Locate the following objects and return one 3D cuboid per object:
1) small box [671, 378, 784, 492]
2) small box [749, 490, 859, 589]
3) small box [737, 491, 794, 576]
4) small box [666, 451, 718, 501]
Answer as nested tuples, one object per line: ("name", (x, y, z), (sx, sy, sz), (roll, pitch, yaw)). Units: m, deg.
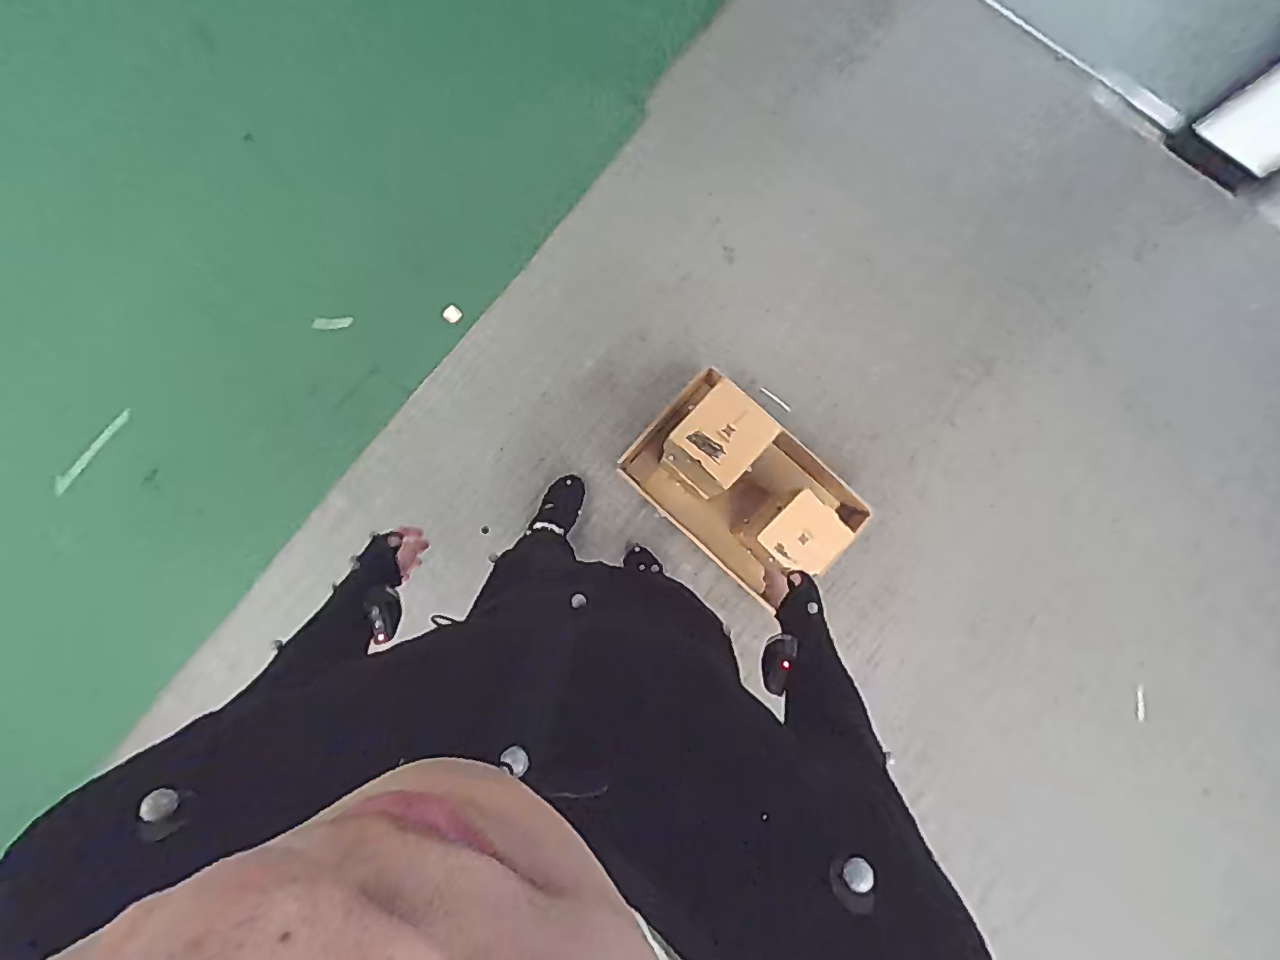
("small box", (0.181, -0.088, 1.189), (0.168, 0.176, 0.179), (43, 85, 2))
("small box", (0.395, 0.143, 1.338), (0.179, 0.176, 0.168), (-44, 87, -3))
("small box", (0.391, 0.148, 1.502), (0.168, 0.176, 0.179), (44, 88, 3))
("small box", (0.185, -0.057, 1.515), (0.168, 0.176, 0.179), (44, 86, 3))
